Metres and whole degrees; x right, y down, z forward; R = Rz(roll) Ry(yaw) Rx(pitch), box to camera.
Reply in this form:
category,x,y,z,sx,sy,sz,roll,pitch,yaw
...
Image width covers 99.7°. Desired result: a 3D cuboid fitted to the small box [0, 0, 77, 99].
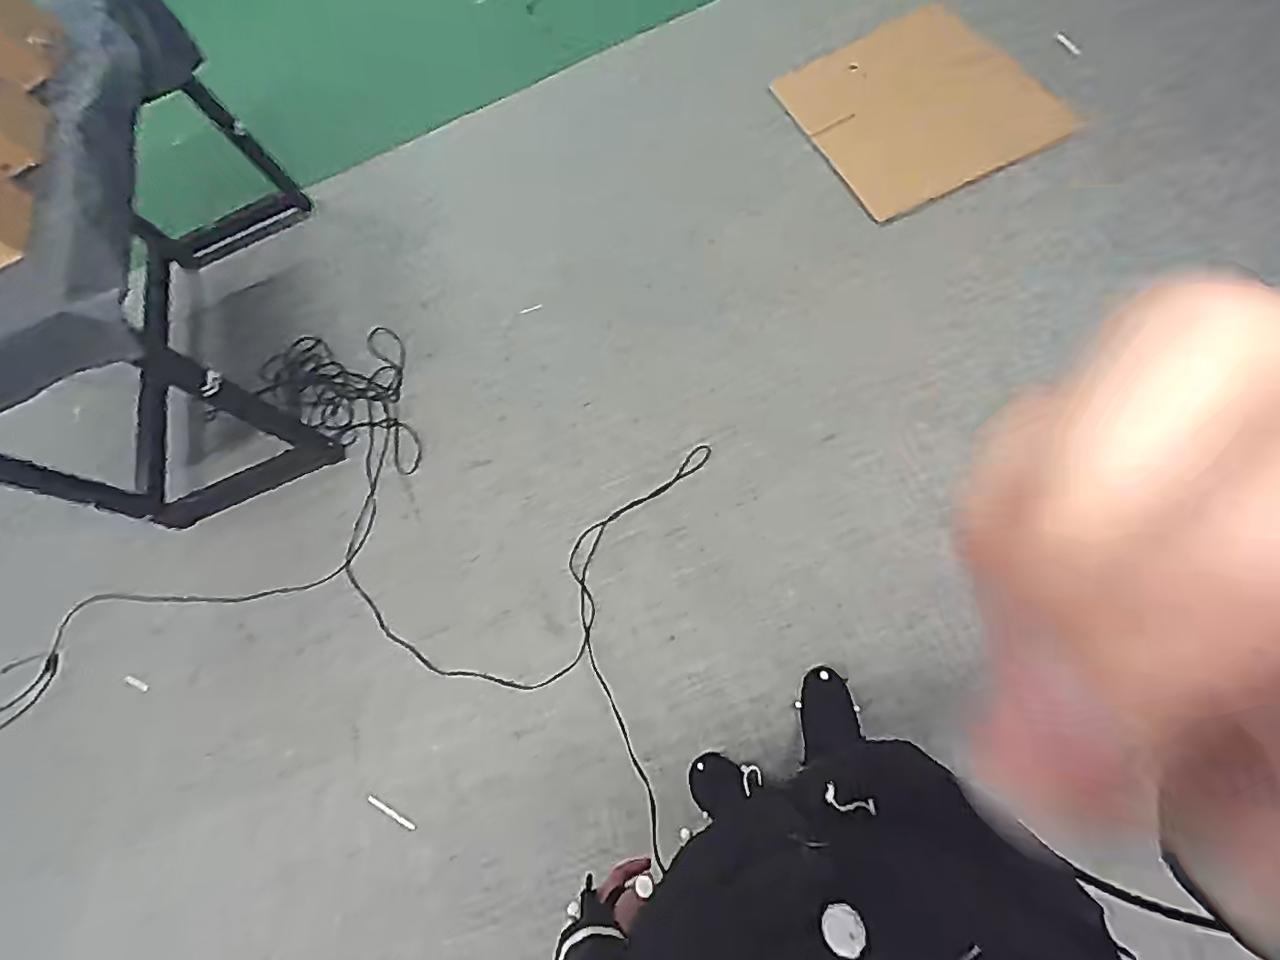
category,x,y,z,sx,sy,sz,roll,pitch,yaw
small box,-1.450,-1.010,1.220,0.179,0.176,0.168,-16,69,5

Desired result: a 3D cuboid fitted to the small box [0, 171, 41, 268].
category,x,y,z,sx,sy,sz,roll,pitch,yaw
small box,-1.266,-0.496,0.988,0.168,0.176,0.179,-22,66,4
